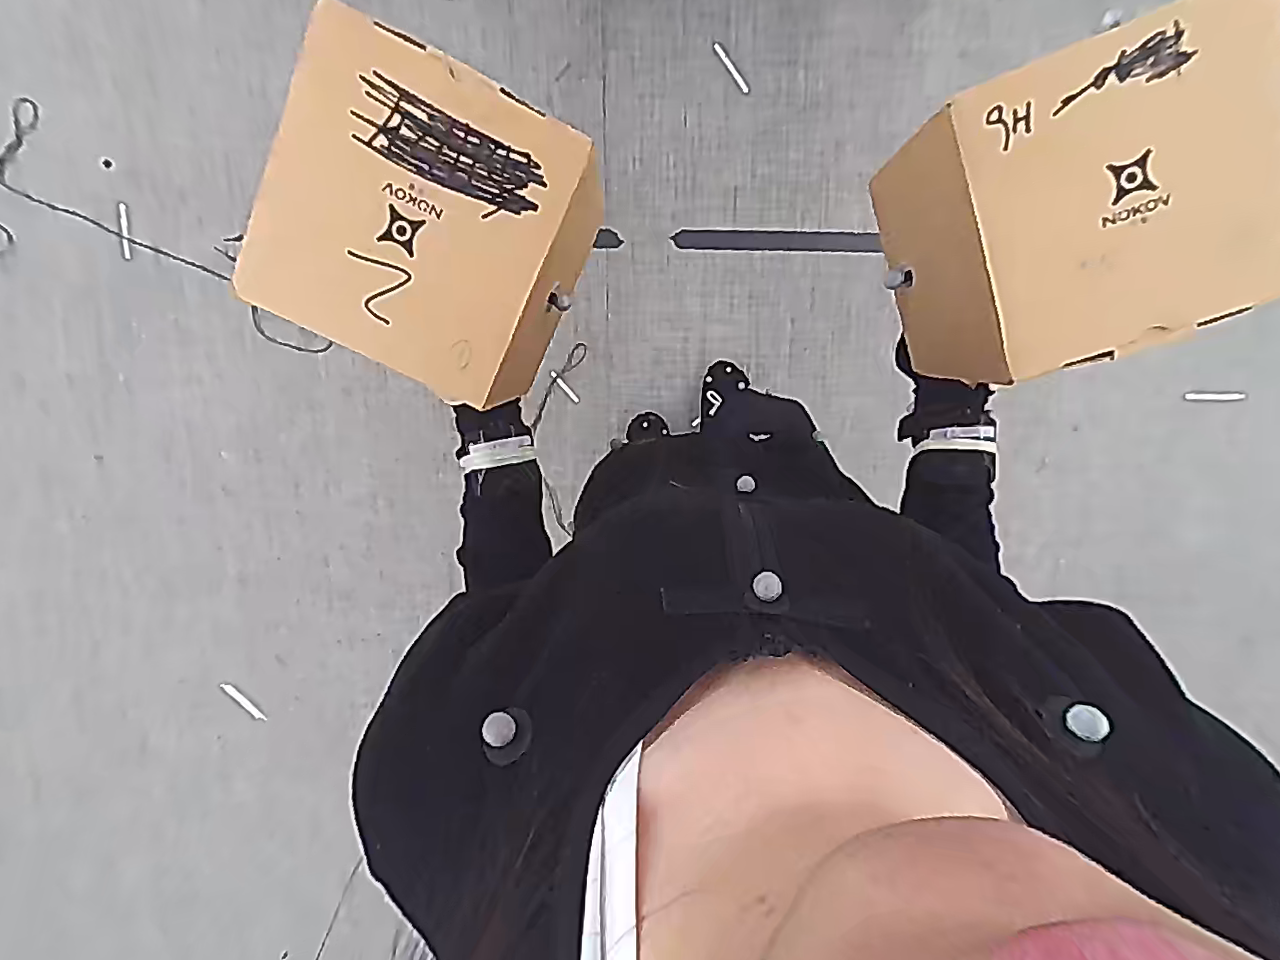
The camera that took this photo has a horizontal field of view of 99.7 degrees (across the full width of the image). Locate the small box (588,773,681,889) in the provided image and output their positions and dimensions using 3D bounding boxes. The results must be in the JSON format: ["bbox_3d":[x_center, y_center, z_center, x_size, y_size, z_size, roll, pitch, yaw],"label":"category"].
[{"bbox_3d":[-0.011,0.785,1.204,0.179,0.176,0.168,8,96,0],"label":"small box"}]

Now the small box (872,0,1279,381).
[{"bbox_3d":[0.292,-0.187,0.394,0.168,0.176,0.179,-18,102,10],"label":"small box"}]

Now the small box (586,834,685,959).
[{"bbox_3d":[-0.007,0.820,1.044,0.168,0.176,0.179,-7,98,2],"label":"small box"}]
